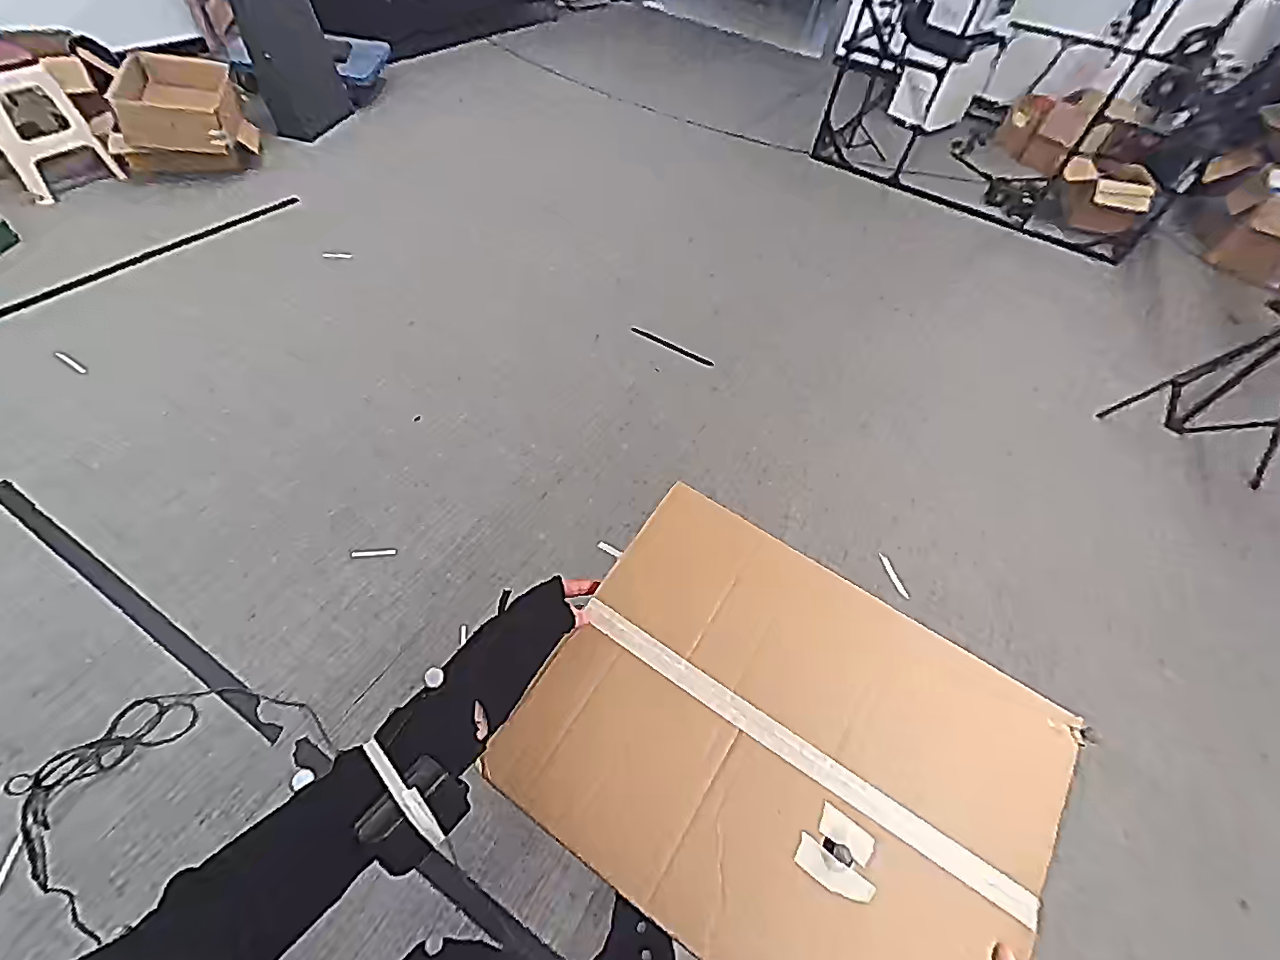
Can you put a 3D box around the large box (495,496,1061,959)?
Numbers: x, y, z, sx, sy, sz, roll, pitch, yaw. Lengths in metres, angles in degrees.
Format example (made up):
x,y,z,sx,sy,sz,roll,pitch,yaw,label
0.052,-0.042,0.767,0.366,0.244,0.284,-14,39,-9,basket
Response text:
x,y,z,sx,sy,sz,roll,pitch,yaw,label
0.118,0.290,0.592,0.408,0.320,0.320,32,67,14,large box
